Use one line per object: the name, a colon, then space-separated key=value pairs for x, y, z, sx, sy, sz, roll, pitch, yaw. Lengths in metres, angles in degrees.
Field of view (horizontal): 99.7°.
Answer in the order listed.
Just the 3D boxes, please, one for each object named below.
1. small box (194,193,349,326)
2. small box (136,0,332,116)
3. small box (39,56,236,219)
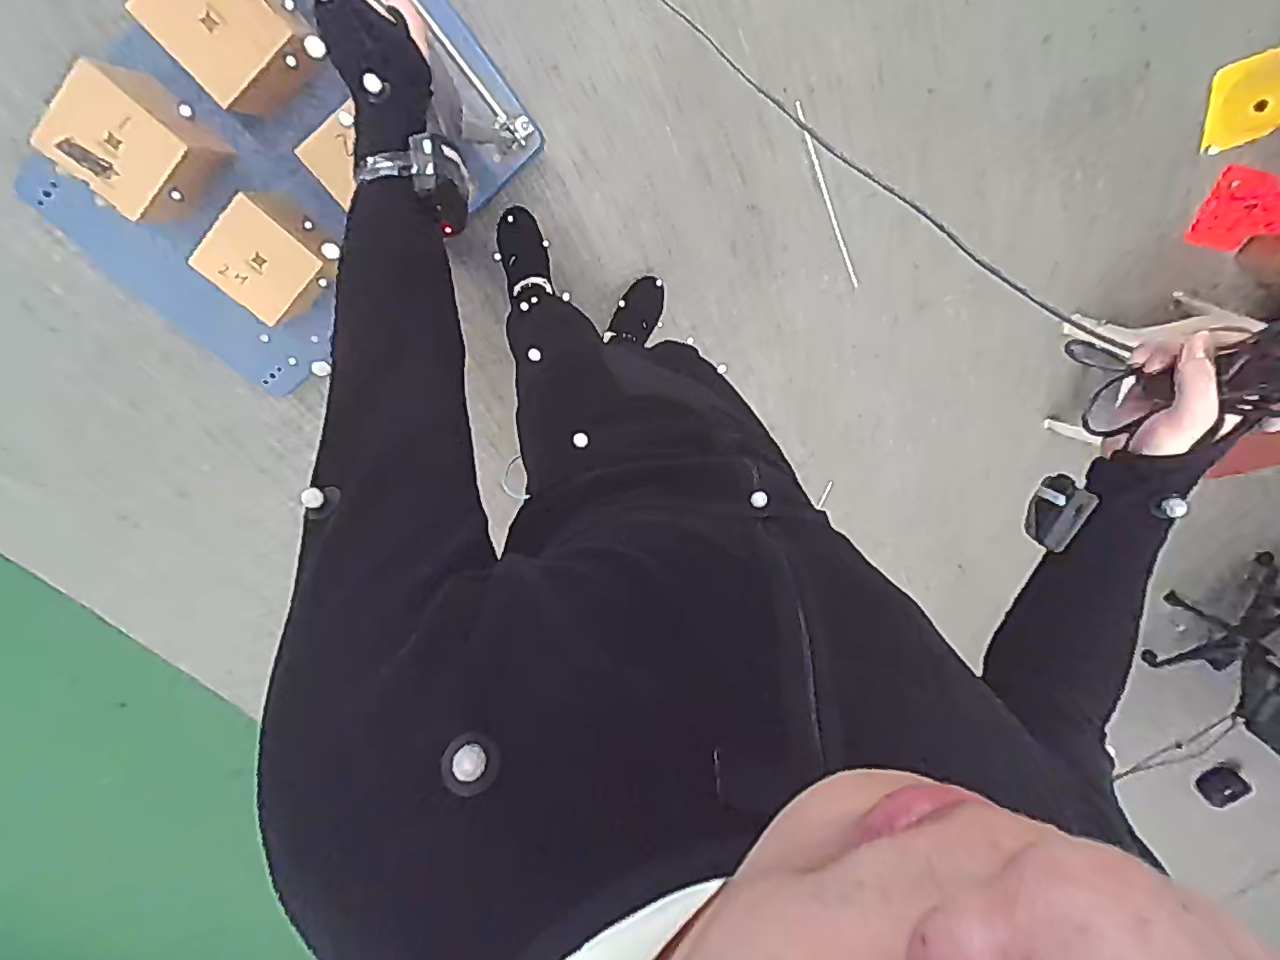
small box: x=-0.715 y=-0.442 z=1.076 sx=0.179 sy=0.176 sz=0.168 roll=-40 pitch=115 yaw=14
small box: x=-0.668 y=-0.756 z=0.916 sx=0.179 sy=0.176 sz=0.168 roll=-36 pitch=117 yaw=11
small box: x=-0.880 y=-0.598 z=0.968 sx=0.179 sy=0.176 sz=0.168 roll=-40 pitch=117 yaw=13
